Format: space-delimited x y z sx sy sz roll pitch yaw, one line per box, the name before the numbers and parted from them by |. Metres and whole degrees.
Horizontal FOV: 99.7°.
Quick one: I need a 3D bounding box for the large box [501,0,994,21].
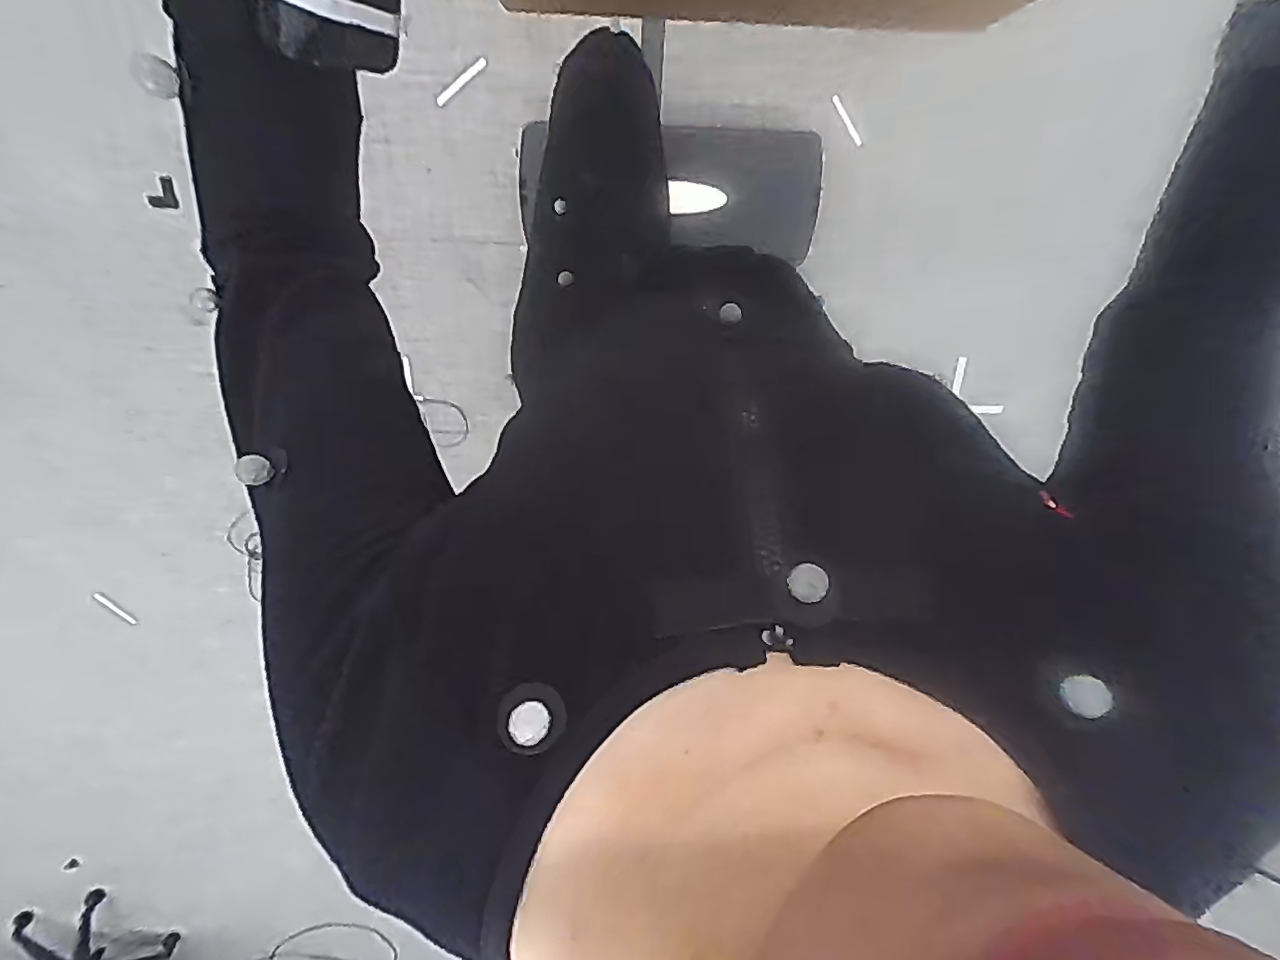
large box | 0.084 -0.468 0.262 0.408 0.320 0.320 2 116 -1
